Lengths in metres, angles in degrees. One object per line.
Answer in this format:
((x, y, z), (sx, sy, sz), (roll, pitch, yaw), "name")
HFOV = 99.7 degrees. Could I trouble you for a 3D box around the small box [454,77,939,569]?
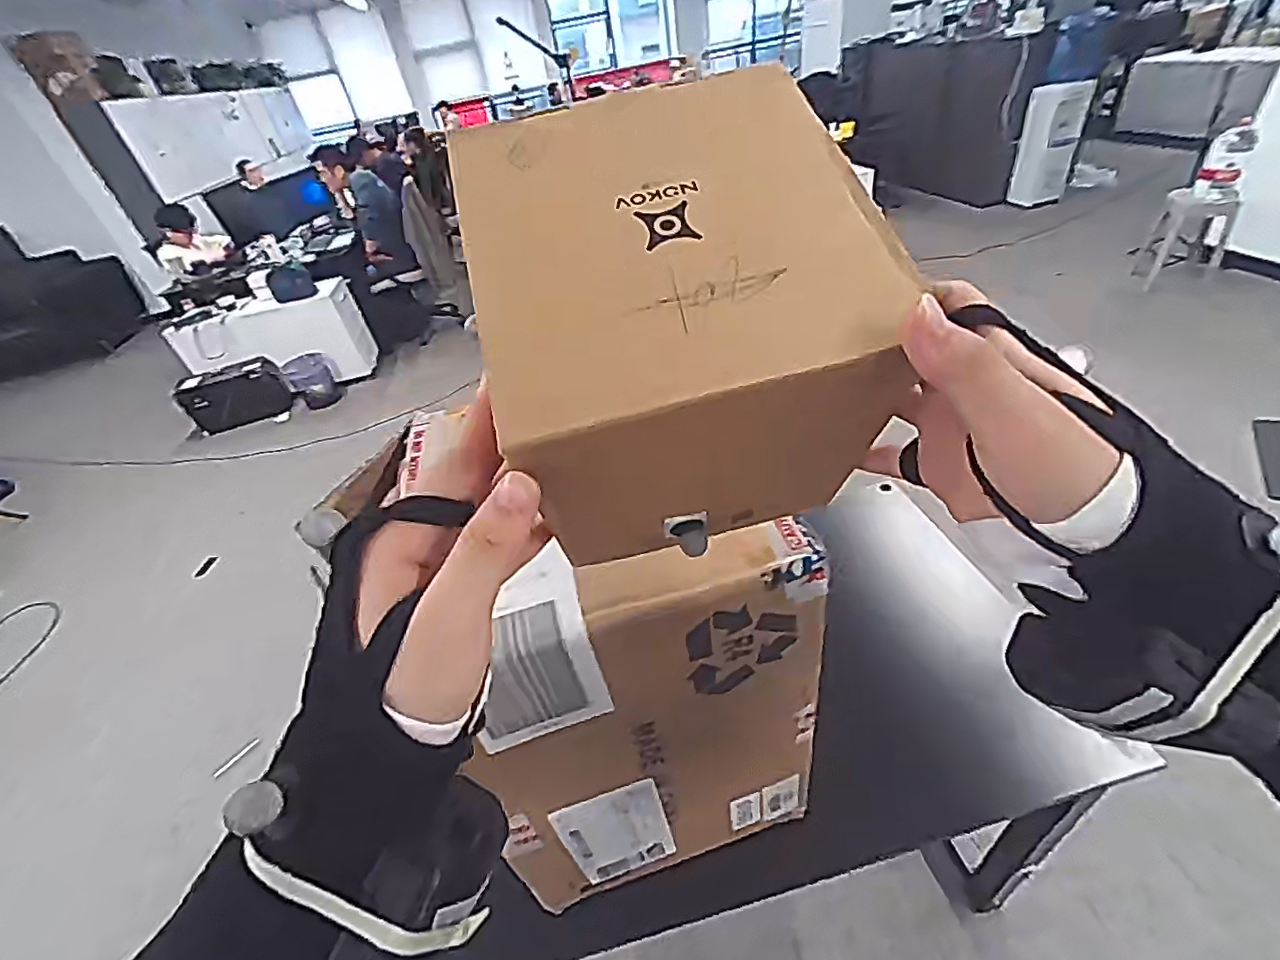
((0.015, -0.070, 0.300), (0.168, 0.176, 0.179), (-15, 66, -3), "small box")
